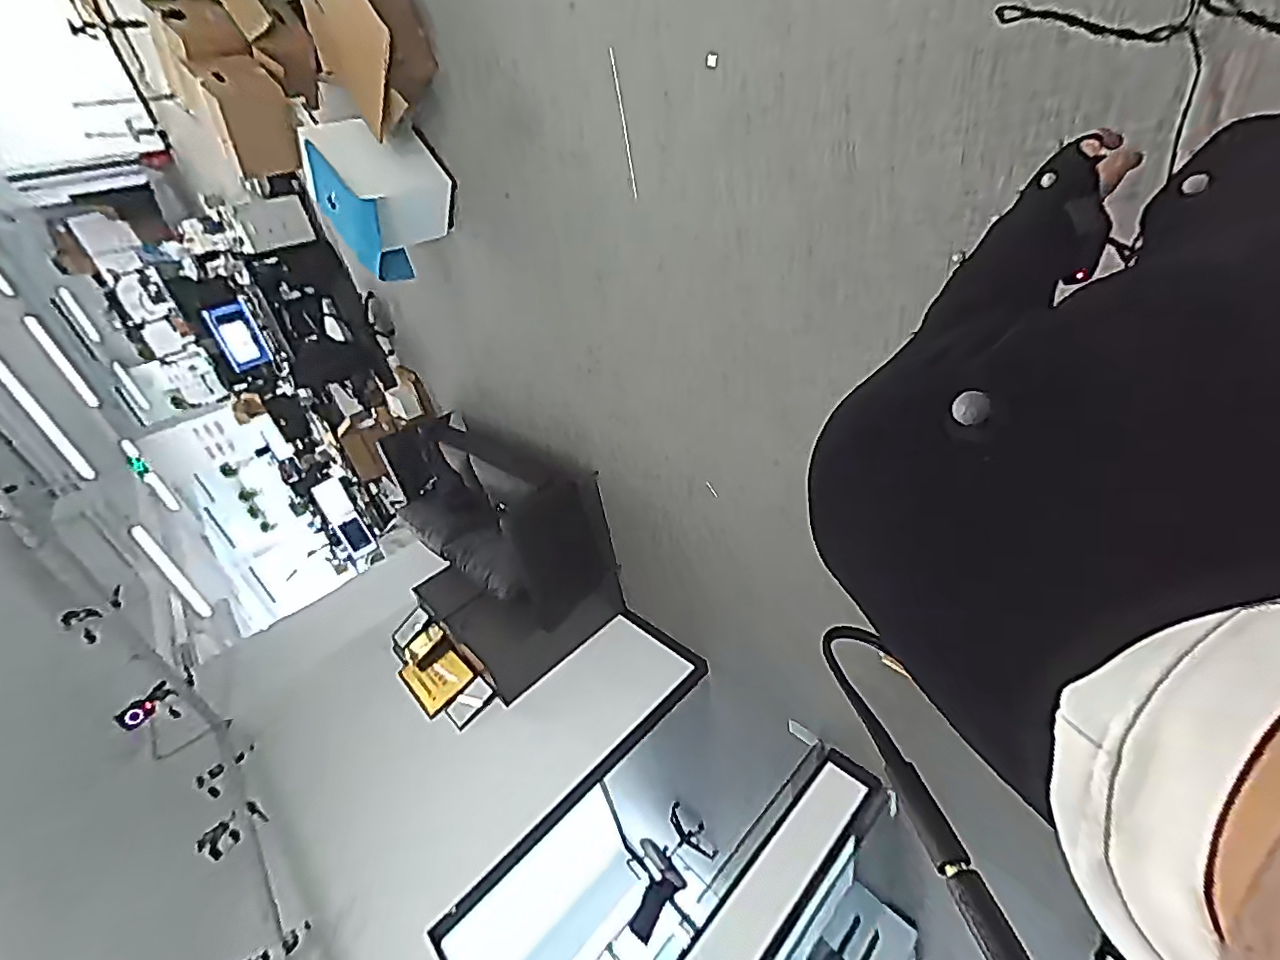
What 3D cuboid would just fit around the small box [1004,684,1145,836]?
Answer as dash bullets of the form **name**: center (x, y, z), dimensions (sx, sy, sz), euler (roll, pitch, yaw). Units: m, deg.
- **small box**: center (0.877, 0.558, 1.094), dimensions (0.168, 0.176, 0.179), euler (25, 136, 40)
